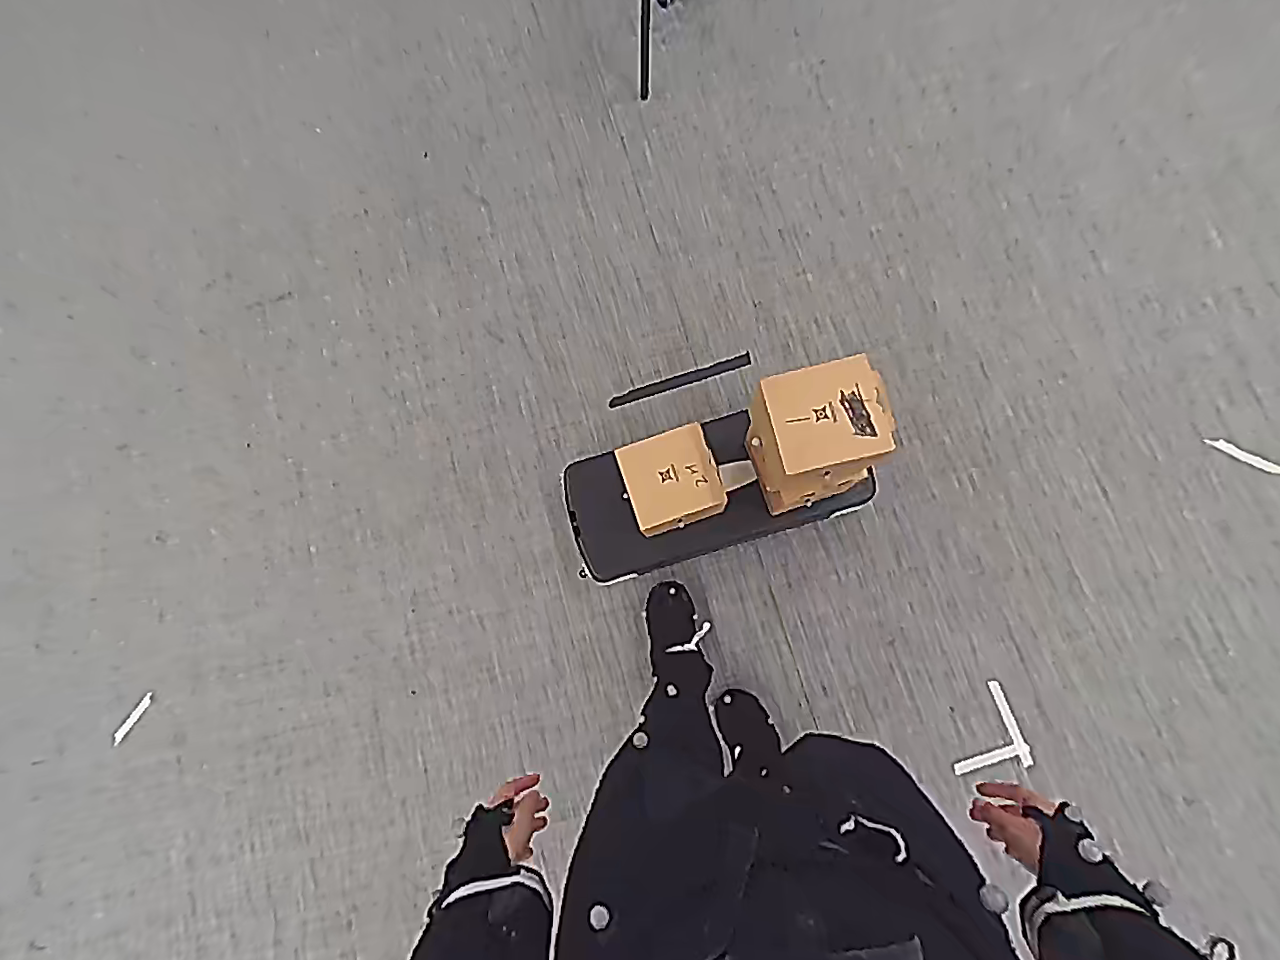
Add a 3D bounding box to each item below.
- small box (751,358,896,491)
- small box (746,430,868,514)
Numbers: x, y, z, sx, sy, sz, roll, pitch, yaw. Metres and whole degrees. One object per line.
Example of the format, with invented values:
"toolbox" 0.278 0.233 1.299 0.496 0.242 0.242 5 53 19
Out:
"small box" 0.302 -0.087 0.928 0.179 0.176 0.168 -13 79 3
"small box" 0.323 -0.045 1.086 0.168 0.176 0.179 -19 79 1
